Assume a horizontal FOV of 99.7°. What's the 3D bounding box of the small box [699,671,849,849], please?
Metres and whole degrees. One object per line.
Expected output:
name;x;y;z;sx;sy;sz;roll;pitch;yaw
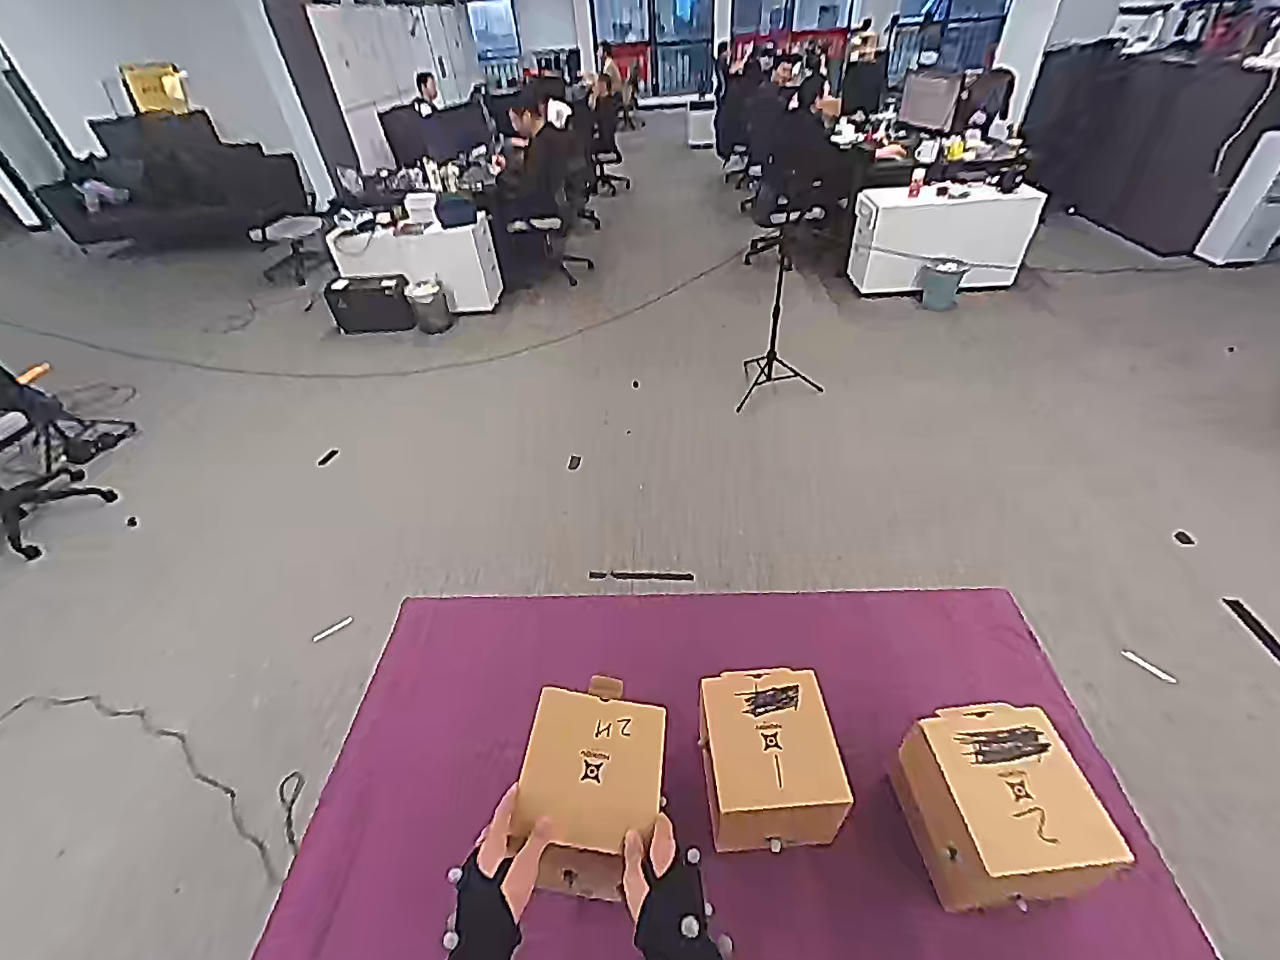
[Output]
small box;0.177;0.402;0.780;0.168;0.176;0.179;-5;41;0

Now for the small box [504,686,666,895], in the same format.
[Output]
small box;-0.068;0.399;0.694;0.168;0.176;0.179;12;38;-2
